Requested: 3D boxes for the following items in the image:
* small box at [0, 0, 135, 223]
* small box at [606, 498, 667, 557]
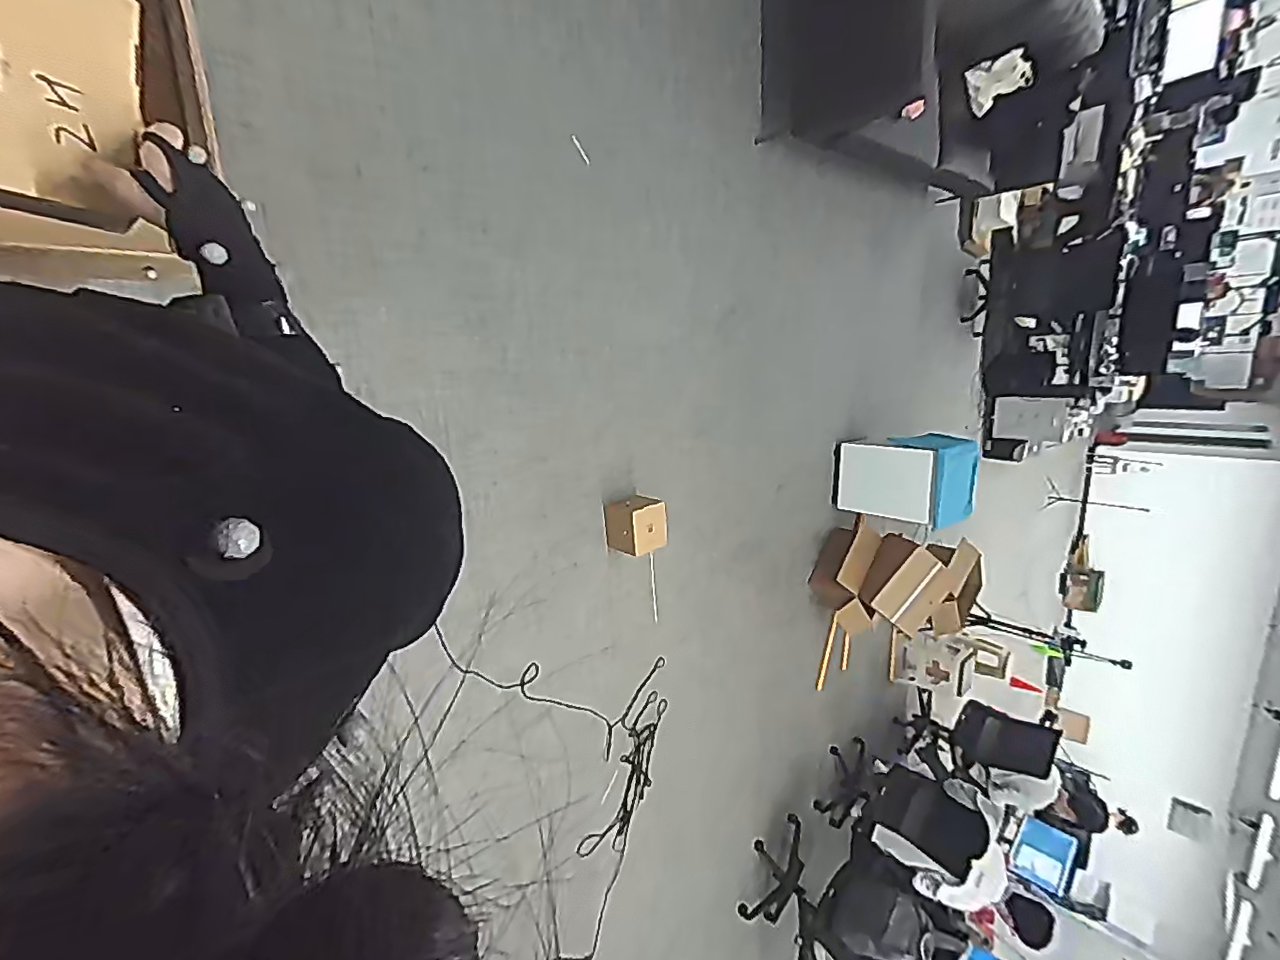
[{"bbox_3d":[-0.516,-0.313,0.418,0.179,0.176,0.168,-1,105,-46],"label":"small box"},{"bbox_3d":[-0.016,0.172,2.042,0.168,0.176,0.179,-16,108,-40],"label":"small box"}]
